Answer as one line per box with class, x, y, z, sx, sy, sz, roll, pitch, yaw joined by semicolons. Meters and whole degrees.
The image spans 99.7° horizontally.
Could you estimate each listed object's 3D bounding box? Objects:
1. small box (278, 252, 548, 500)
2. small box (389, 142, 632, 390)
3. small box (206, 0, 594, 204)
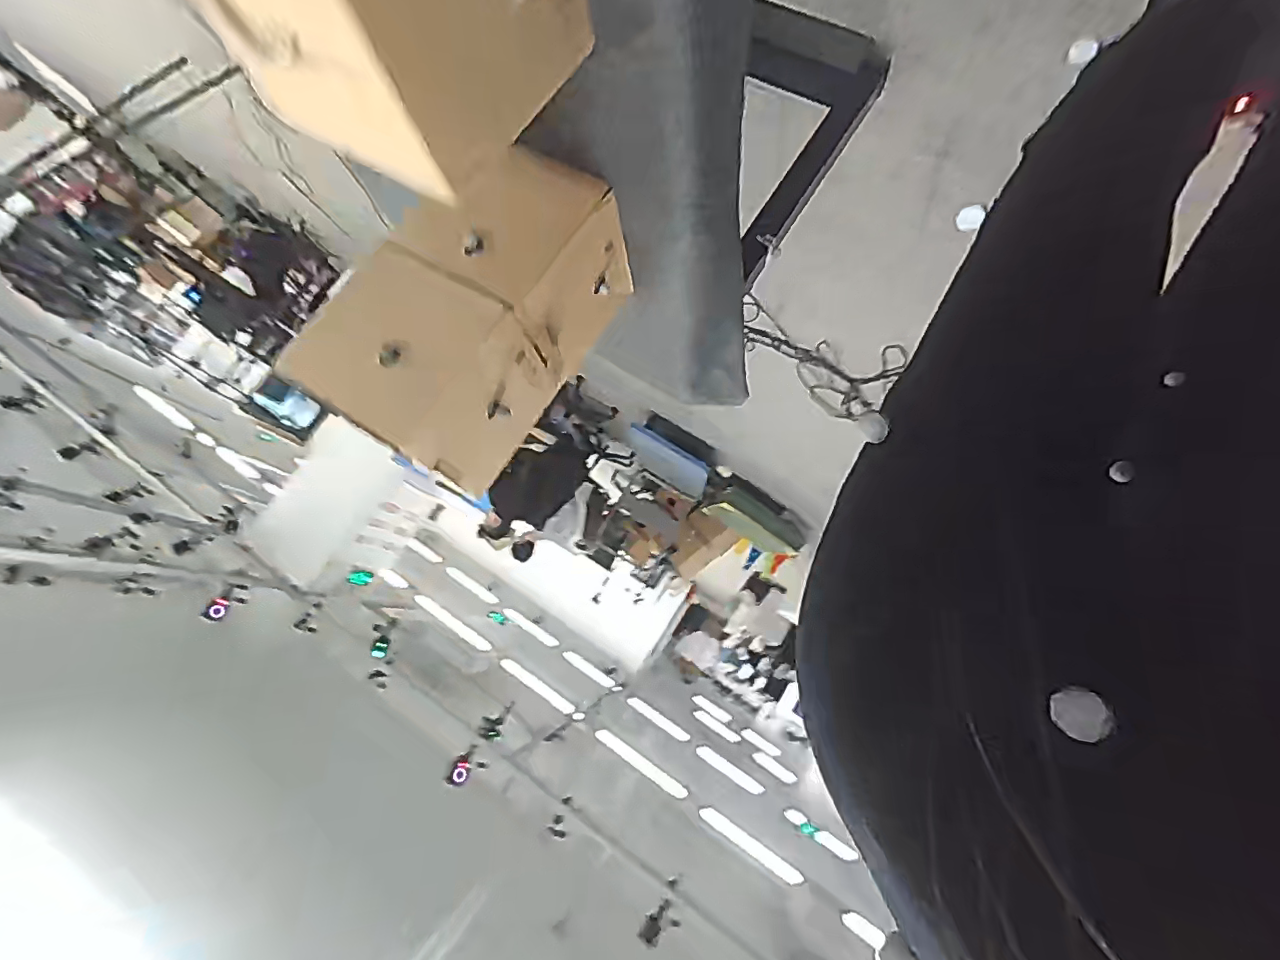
small box;-0.220;-0.108;0.578;0.179;0.176;0.168;30;168;17
small box;-0.132;-0.240;0.615;0.179;0.176;0.168;31;168;16
small box;-0.154;-0.319;0.327;0.179;0.176;0.168;32;169;14
